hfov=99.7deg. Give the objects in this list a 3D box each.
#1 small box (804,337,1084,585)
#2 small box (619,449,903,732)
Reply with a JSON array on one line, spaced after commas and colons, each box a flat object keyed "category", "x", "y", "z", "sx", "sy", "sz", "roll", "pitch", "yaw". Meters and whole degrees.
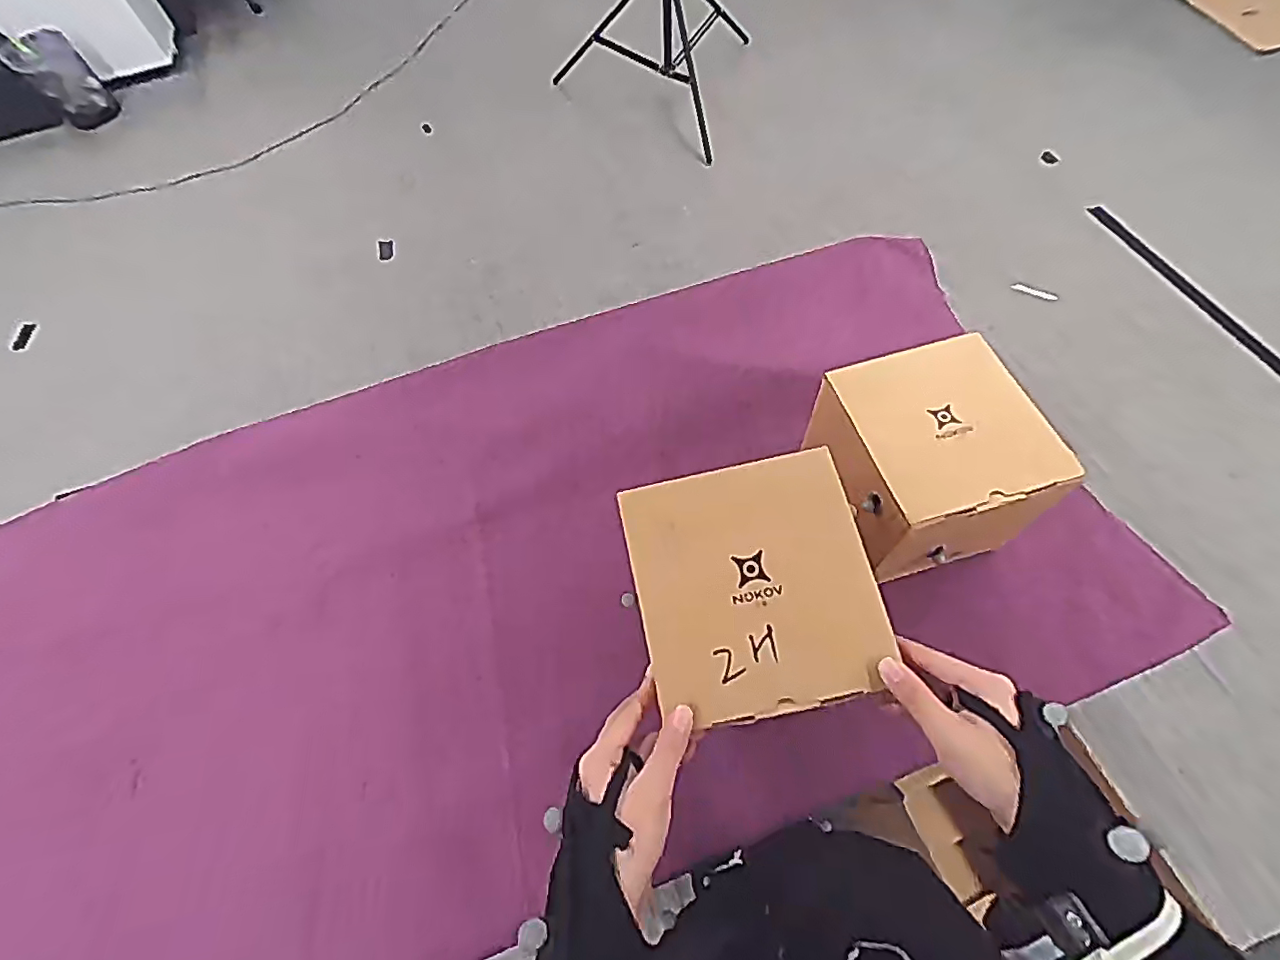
[{"category": "small box", "x": 0.286, "y": -0.013, "z": 0.566, "sx": 0.168, "sy": 0.176, "sz": 0.179, "roll": -16, "pitch": 61, "yaw": -3}, {"category": "small box", "x": 0.085, "y": 0.097, "z": 0.458, "sx": 0.168, "sy": 0.176, "sz": 0.179, "roll": -13, "pitch": 71, "yaw": 2}]
